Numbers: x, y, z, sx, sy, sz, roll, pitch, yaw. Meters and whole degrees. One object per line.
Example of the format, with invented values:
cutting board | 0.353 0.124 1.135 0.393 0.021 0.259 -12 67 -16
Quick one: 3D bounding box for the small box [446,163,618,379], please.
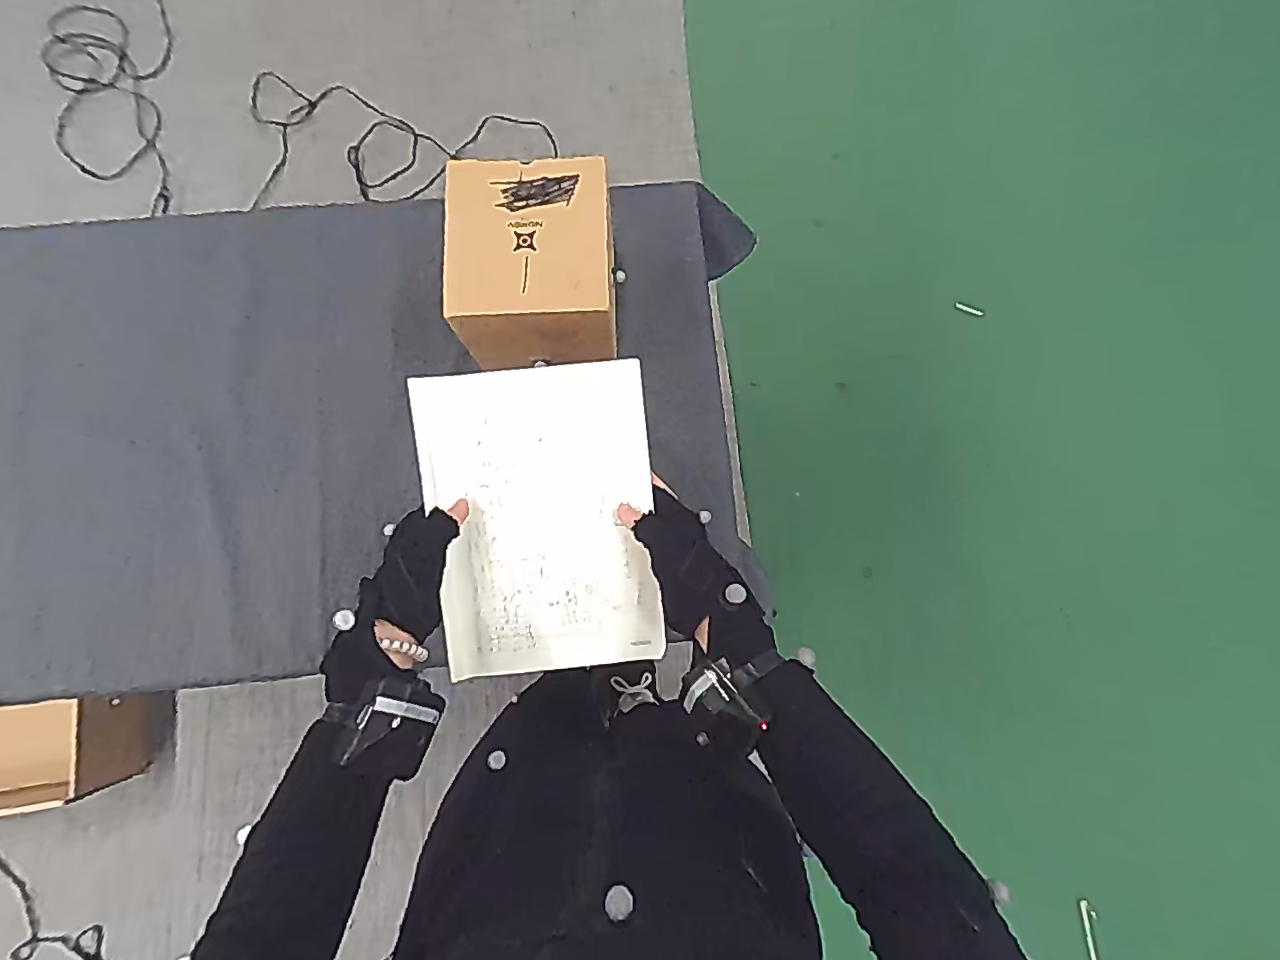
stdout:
small box | -0.112 -0.230 0.626 0.168 0.176 0.179 -2 80 0
